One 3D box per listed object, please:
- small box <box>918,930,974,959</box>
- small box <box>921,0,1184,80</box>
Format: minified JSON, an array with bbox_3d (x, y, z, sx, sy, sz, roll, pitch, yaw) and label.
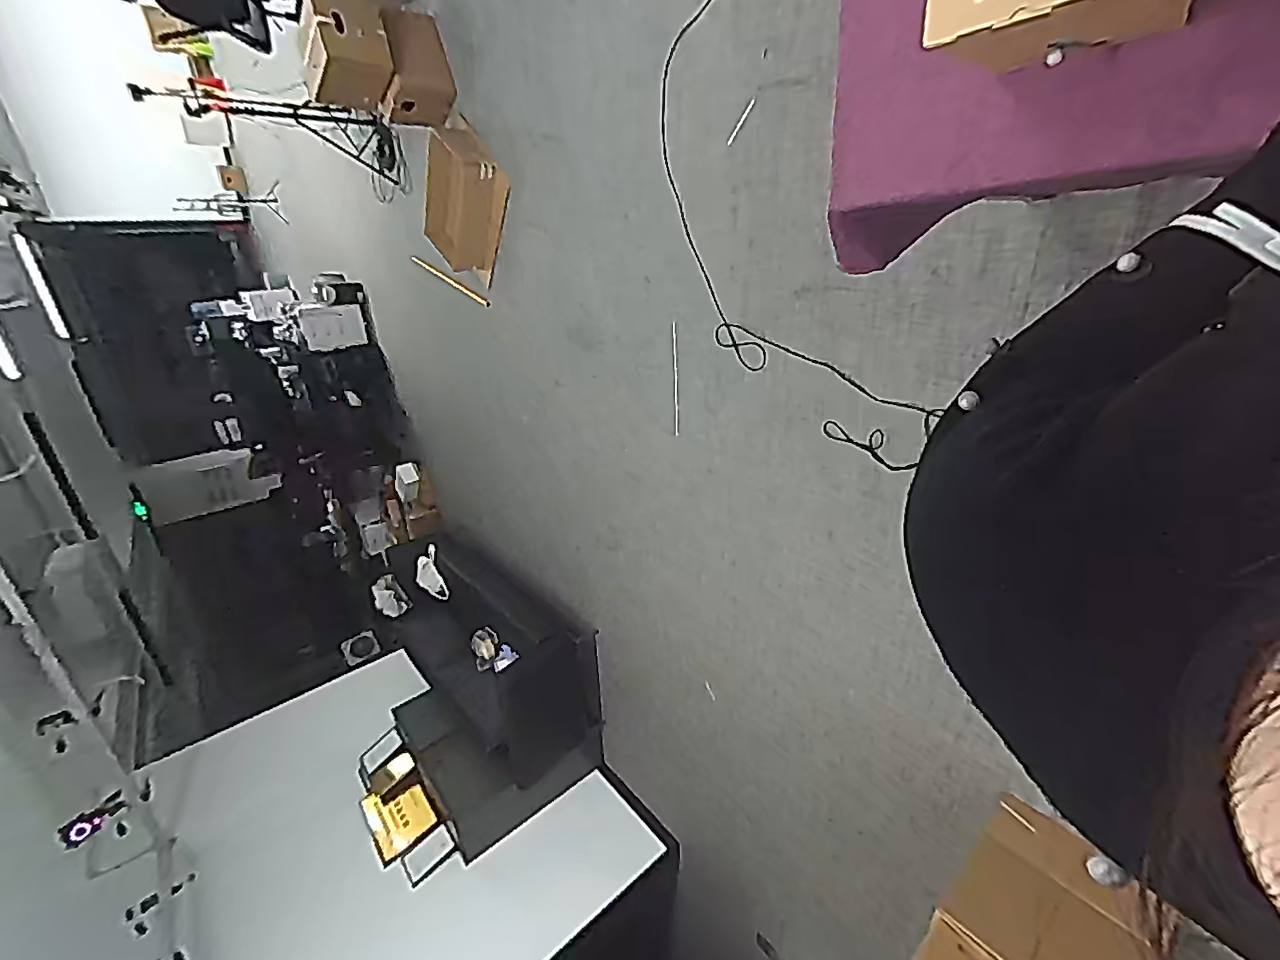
[{"bbox_3d":[0.747,1.263,1.310,0.168,0.176,0.179,30,128,40],"label":"small box"},{"bbox_3d":[0.384,-0.494,0.484,0.168,0.176,0.179,22,123,46],"label":"small box"}]
